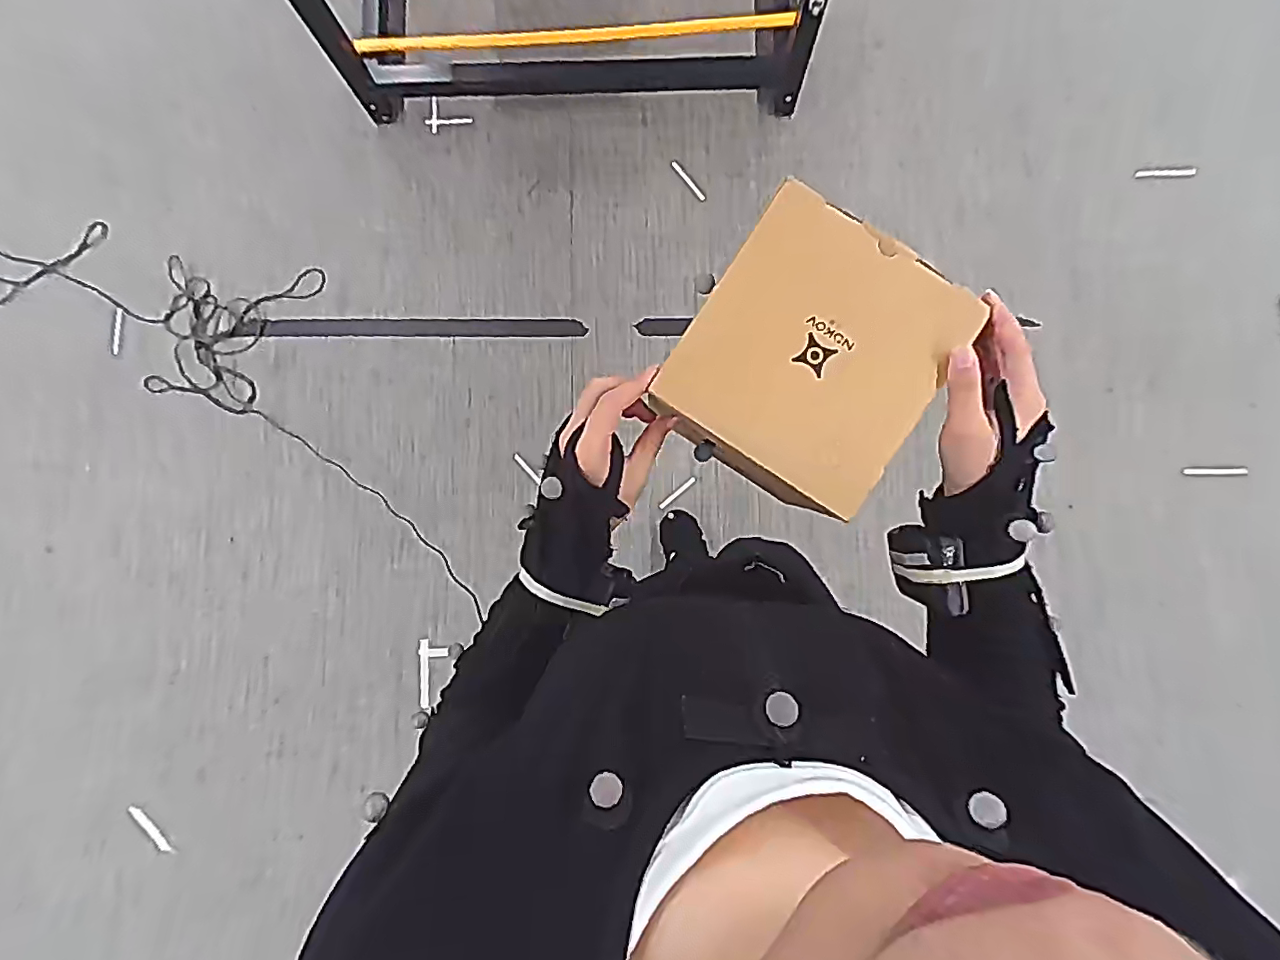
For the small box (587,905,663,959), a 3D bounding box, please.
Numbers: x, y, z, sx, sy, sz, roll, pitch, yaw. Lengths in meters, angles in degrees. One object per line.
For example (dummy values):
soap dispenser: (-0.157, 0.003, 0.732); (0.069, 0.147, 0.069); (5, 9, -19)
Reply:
small box: (-0.041, 1.123, 1.233); (0.168, 0.176, 0.179); (7, 86, 3)
